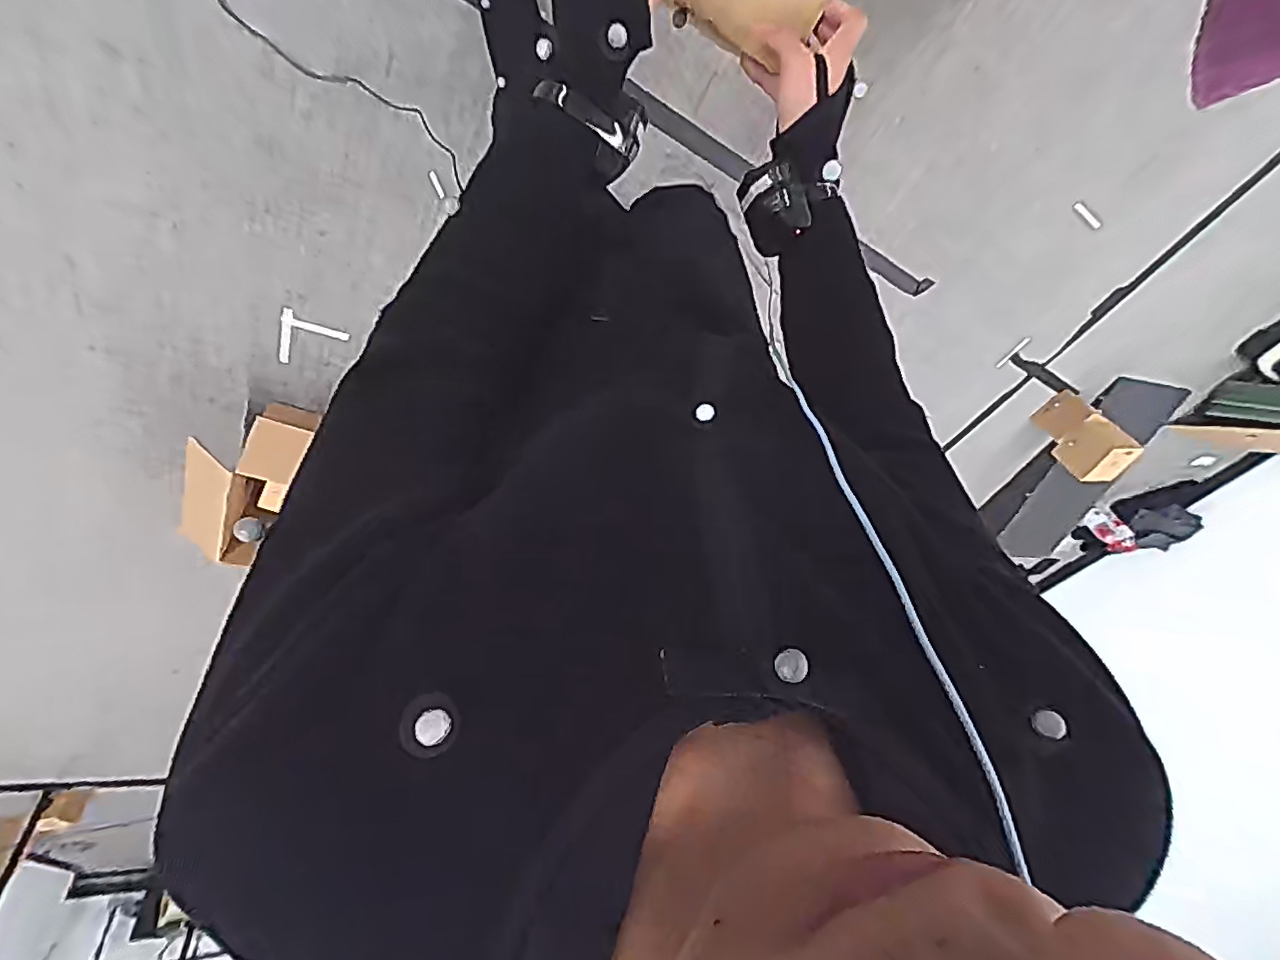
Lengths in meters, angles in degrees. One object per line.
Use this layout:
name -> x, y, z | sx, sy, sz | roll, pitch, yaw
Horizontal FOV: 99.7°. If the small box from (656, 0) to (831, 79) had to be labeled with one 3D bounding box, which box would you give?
small box -> 0.076, -0.488, 0.454 | 0.179, 0.176, 0.168 | 12, 131, -32
